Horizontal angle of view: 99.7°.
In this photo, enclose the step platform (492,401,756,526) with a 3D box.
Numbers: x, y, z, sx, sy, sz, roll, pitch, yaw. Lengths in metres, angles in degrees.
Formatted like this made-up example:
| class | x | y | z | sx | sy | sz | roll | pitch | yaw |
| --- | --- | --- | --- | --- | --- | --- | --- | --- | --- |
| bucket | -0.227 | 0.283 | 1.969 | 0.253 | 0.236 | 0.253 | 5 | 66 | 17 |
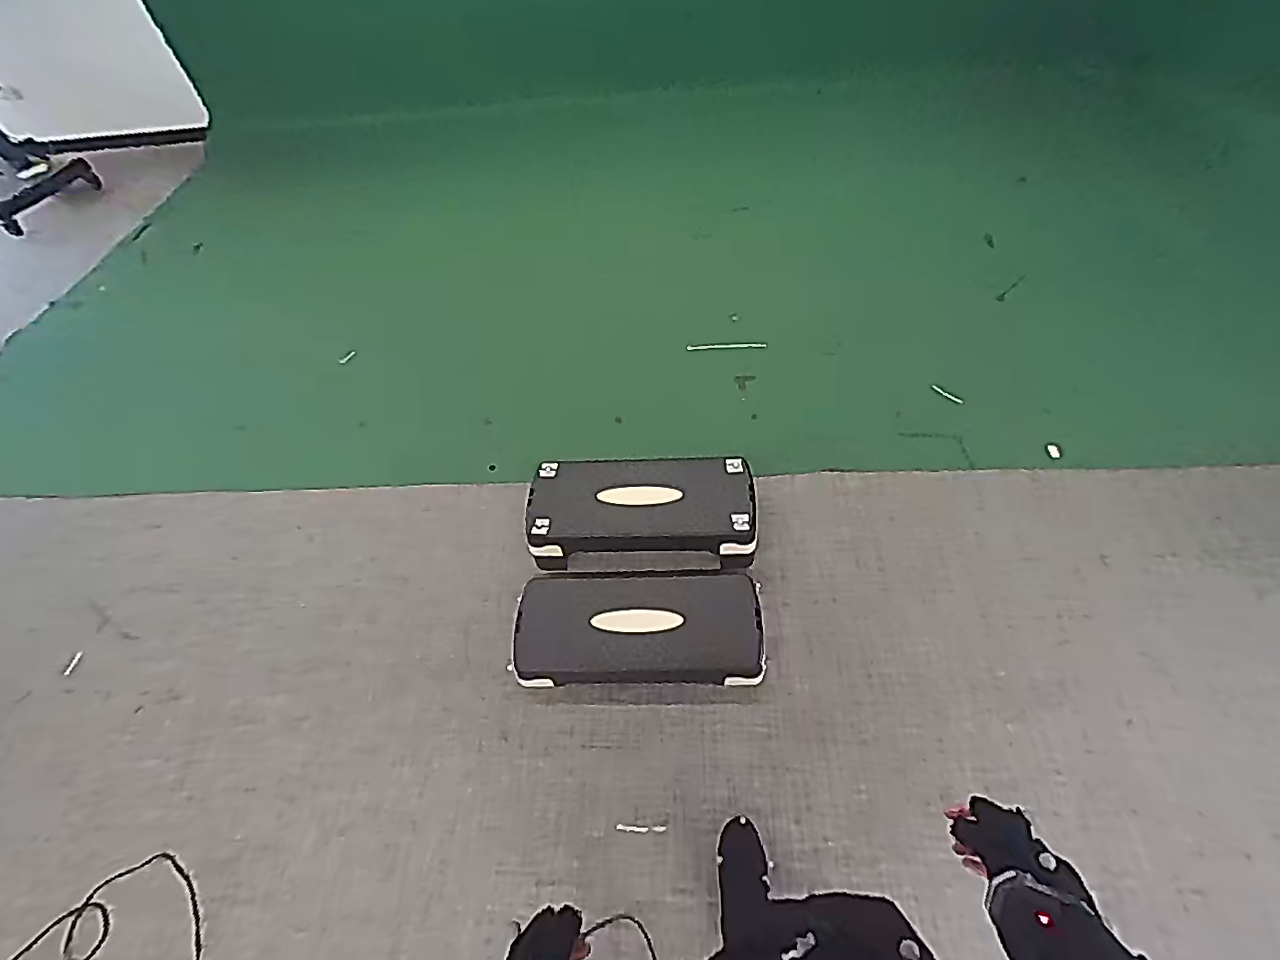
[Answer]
| class | x | y | z | sx | sy | sz | roll | pitch | yaw |
| --- | --- | --- | --- | --- | --- | --- | --- | --- | --- |
| step platform | -0.038 | -0.039 | 1.483 | 0.684 | 0.204 | 0.286 | -2 | 54 | 5 |
